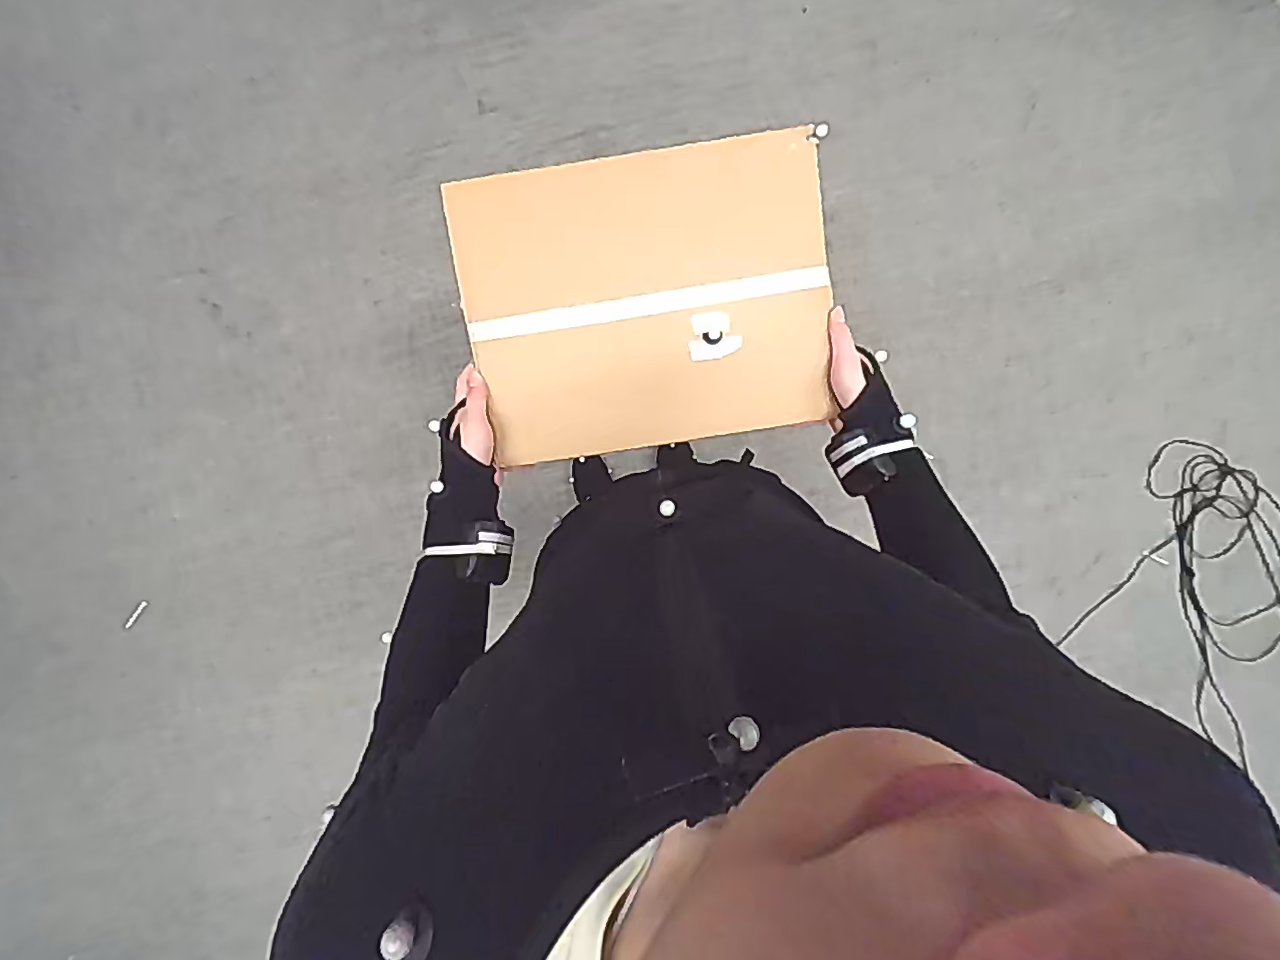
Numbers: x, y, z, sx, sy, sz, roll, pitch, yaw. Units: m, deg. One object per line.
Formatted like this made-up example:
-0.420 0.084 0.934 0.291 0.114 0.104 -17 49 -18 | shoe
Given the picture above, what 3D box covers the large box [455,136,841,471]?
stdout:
0.012 -0.212 0.758 0.408 0.320 0.320 -9 99 0 | large box
